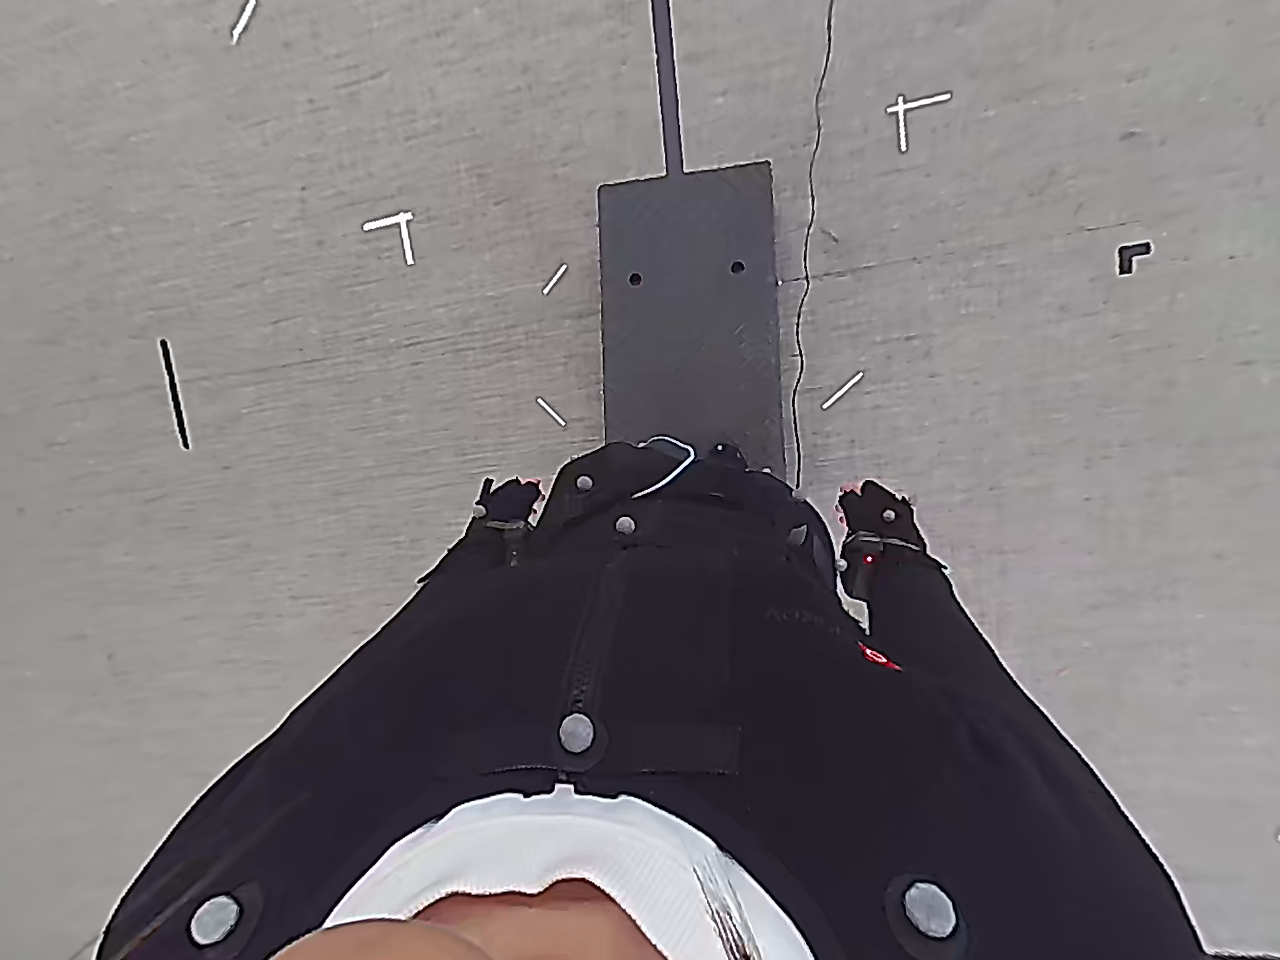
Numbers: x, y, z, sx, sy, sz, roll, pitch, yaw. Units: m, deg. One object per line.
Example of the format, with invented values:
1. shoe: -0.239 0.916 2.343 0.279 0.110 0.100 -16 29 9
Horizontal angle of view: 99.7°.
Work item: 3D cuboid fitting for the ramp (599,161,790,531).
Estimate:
1. ramp: 0.134 -0.365 1.492 0.509 0.206 0.991 -4 96 12
